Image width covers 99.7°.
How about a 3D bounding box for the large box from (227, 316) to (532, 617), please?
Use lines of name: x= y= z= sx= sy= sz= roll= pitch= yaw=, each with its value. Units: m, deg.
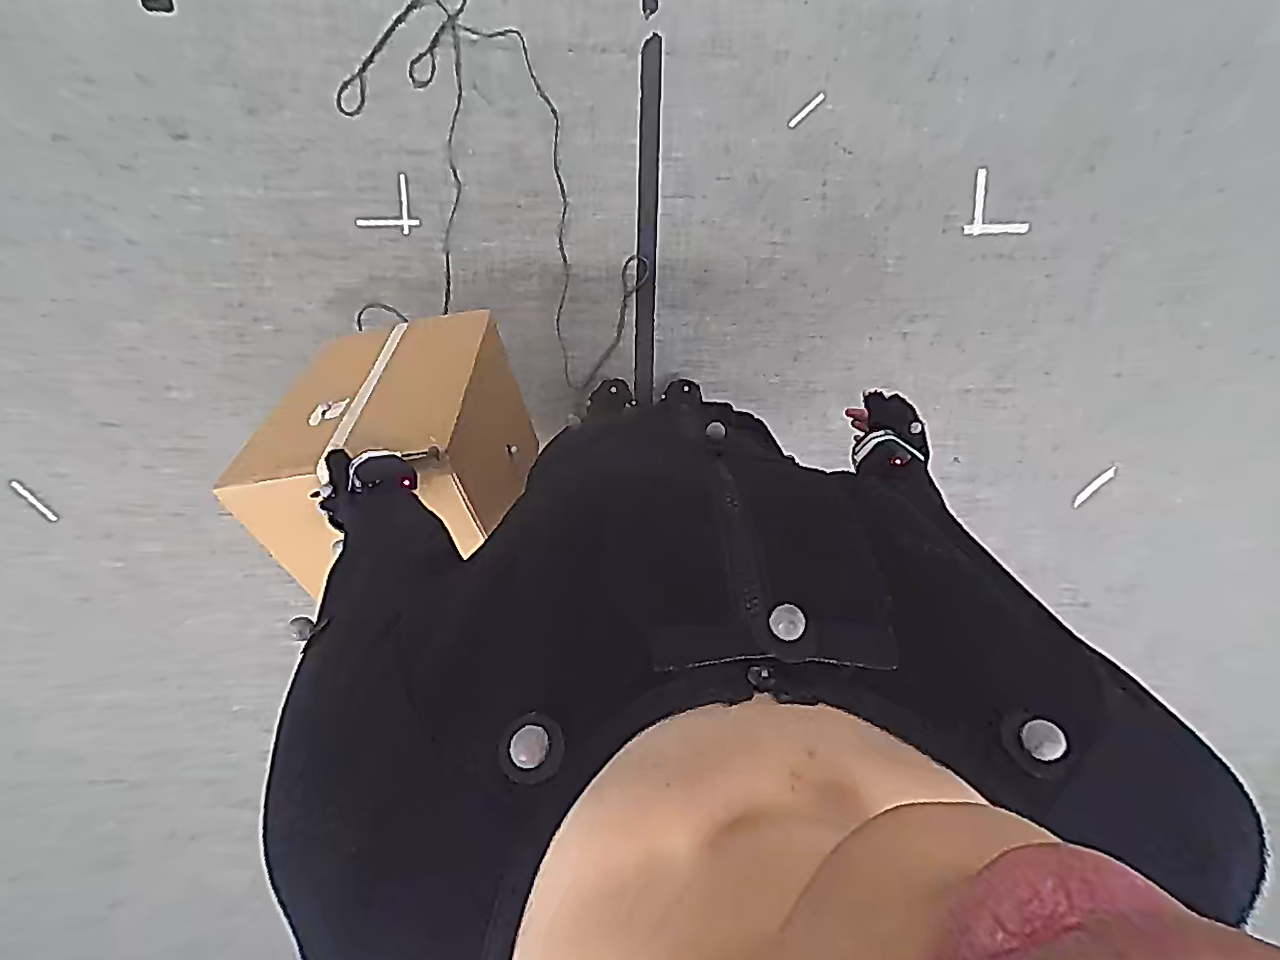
large box: x=-0.385 y=-0.032 z=0.939 sx=0.320 sy=0.408 sz=0.320 roll=-10 pitch=133 yaw=3
